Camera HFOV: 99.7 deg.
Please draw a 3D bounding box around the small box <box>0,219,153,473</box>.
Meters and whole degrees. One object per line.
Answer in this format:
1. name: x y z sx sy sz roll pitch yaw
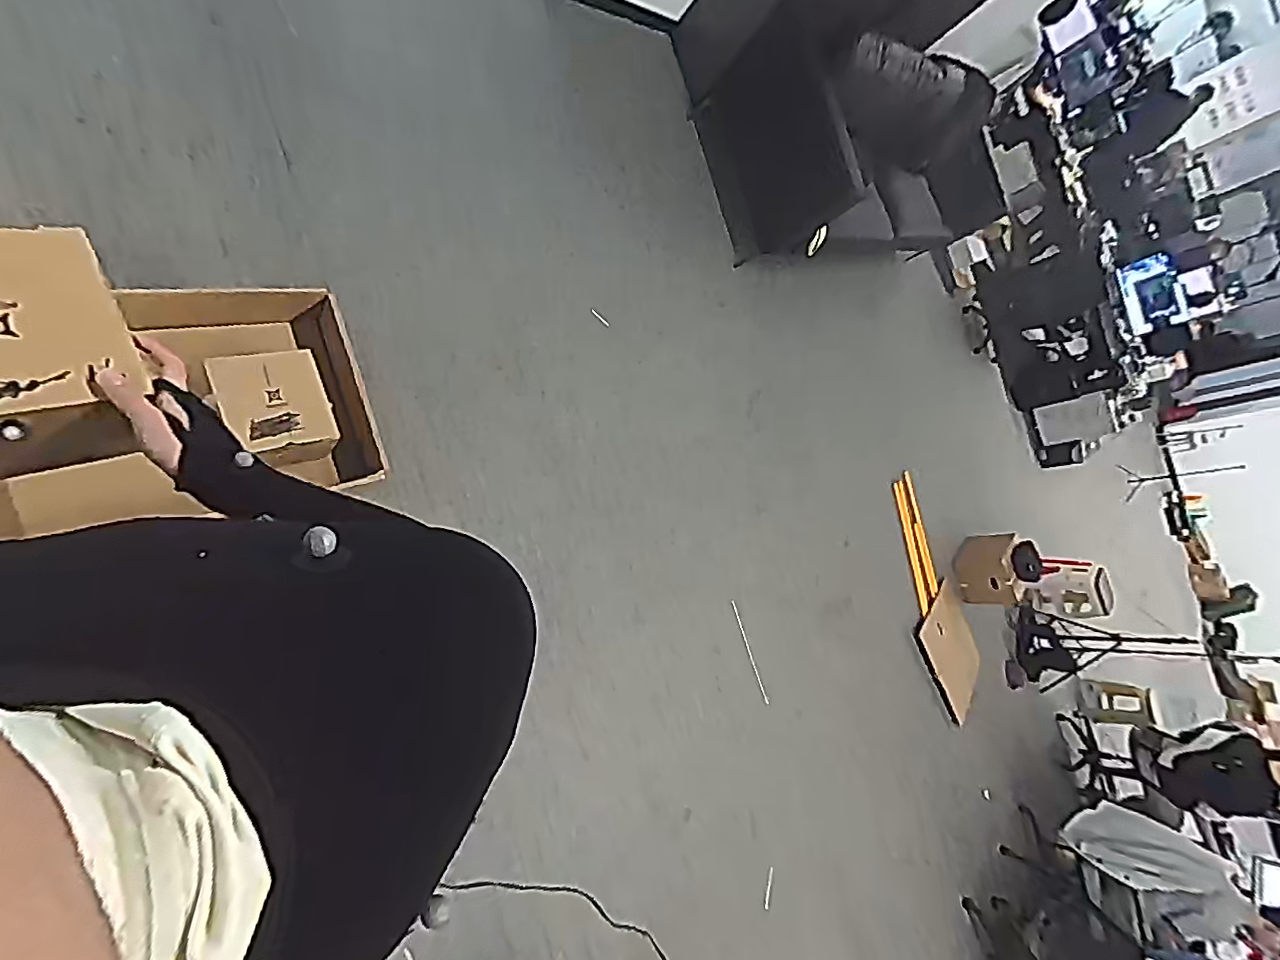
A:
1. small box: -0.601 -0.119 0.512 0.168 0.176 0.179 -24 90 -45
